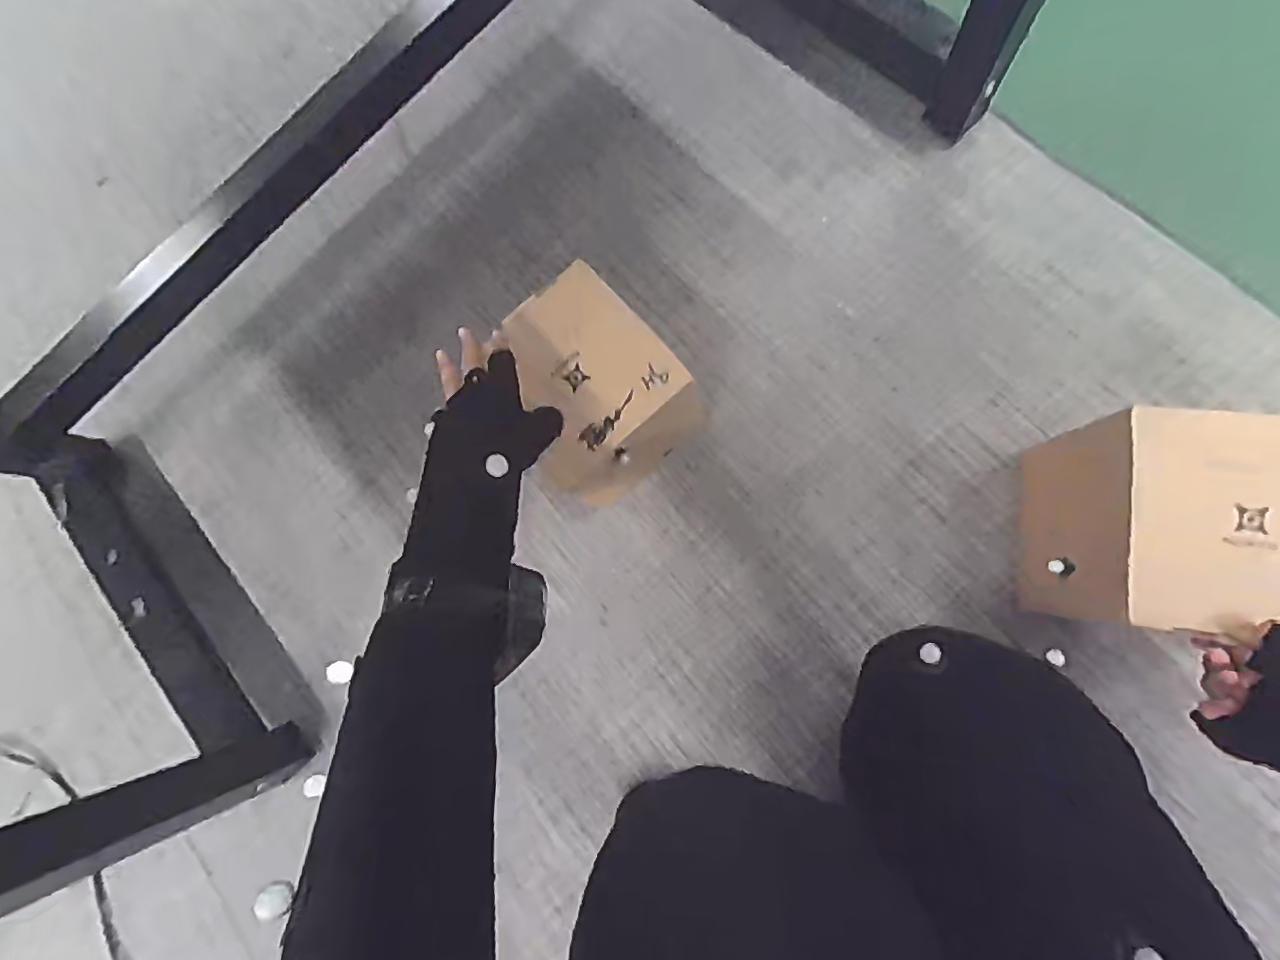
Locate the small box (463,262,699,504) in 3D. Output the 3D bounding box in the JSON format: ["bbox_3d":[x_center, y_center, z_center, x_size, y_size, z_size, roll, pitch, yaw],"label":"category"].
[{"bbox_3d":[-0.053,-0.092,0.600,0.168,0.176,0.179,-41,76,3],"label":"small box"}]
